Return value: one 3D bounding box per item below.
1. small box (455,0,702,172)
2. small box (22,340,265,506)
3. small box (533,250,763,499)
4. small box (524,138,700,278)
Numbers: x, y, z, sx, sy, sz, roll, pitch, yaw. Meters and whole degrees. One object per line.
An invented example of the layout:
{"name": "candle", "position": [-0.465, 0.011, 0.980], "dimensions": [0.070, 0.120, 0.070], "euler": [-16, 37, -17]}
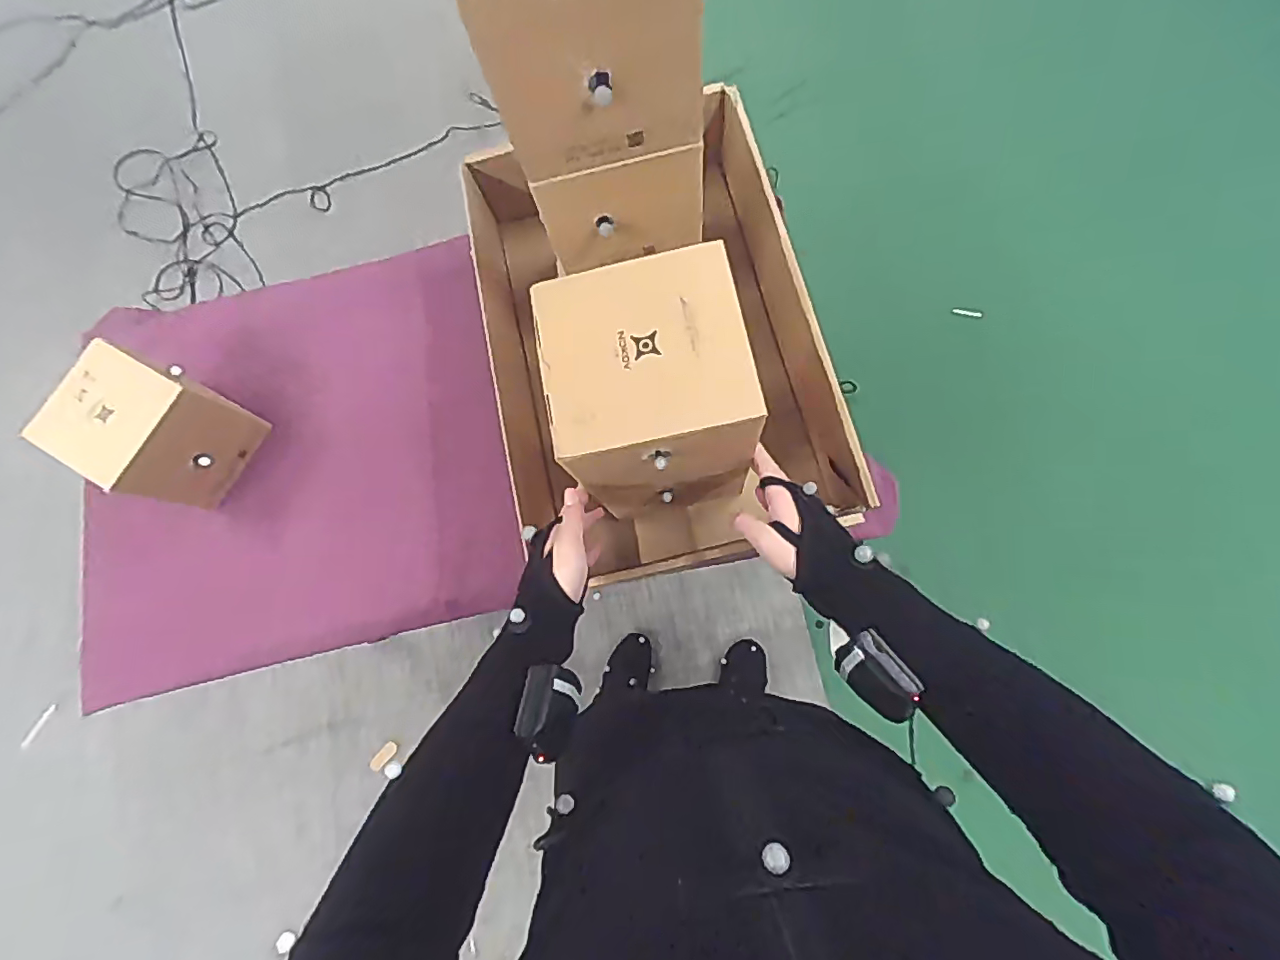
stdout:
{"name": "small box", "position": [-0.045, -0.381, 0.432], "dimensions": [0.168, 0.176, 0.179], "euler": [-12, 78, 3]}
{"name": "small box", "position": [-0.723, -0.073, 0.811], "dimensions": [0.179, 0.176, 0.168], "euler": [28, 80, 10]}
{"name": "small box", "position": [0.012, -0.086, 0.528], "dimensions": [0.179, 0.176, 0.168], "euler": [-11, 76, 4]}
{"name": "small box", "position": [-0.029, -0.345, 0.592], "dimensions": [0.168, 0.176, 0.179], "euler": [-12, 77, 3]}
